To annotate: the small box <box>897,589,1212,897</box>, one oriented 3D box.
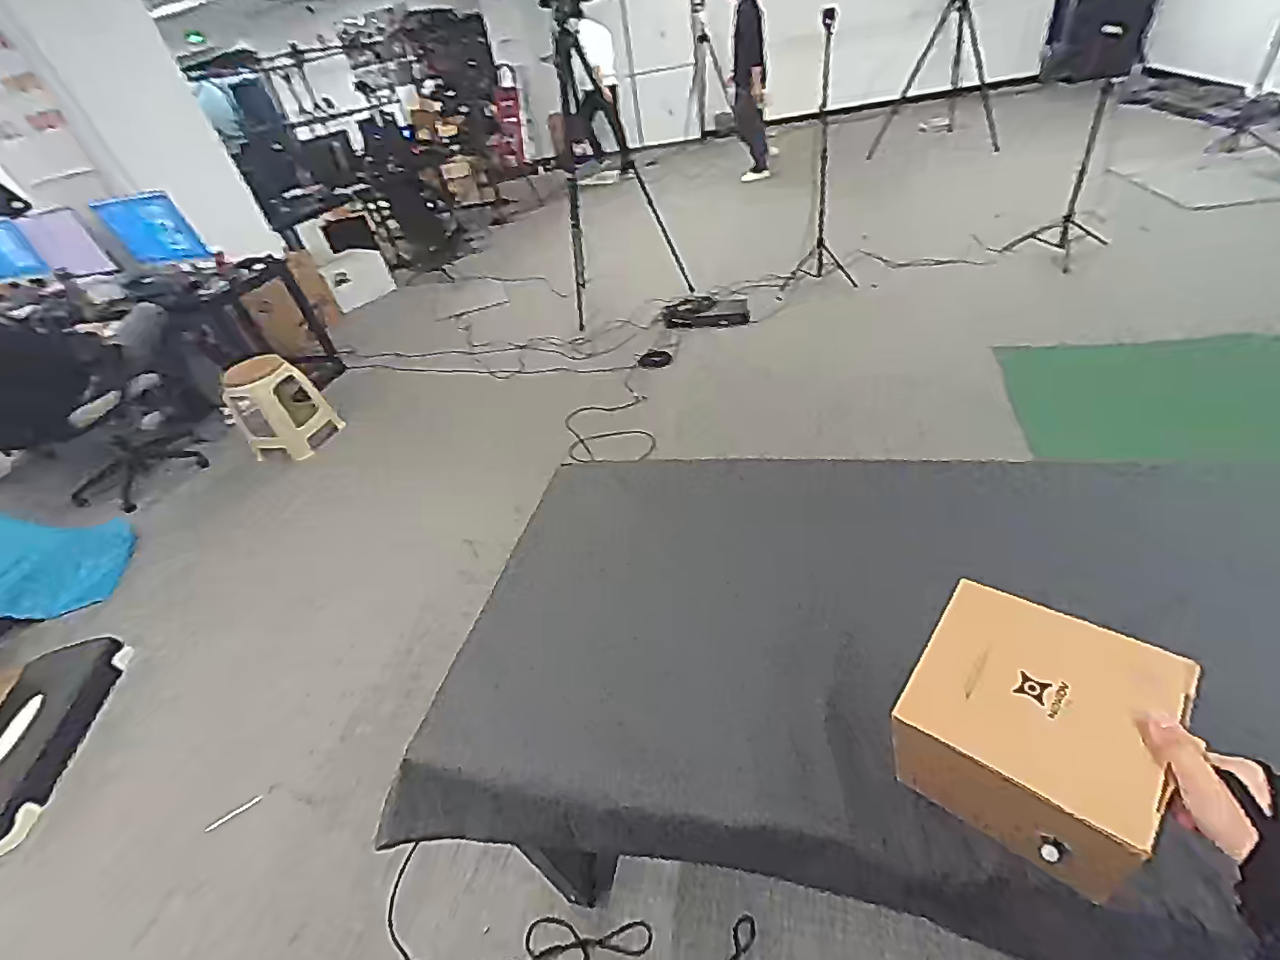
[{"bbox_3d":[0.361,0.238,0.496,0.179,0.176,0.168,20,57,42],"label":"small box"}]
